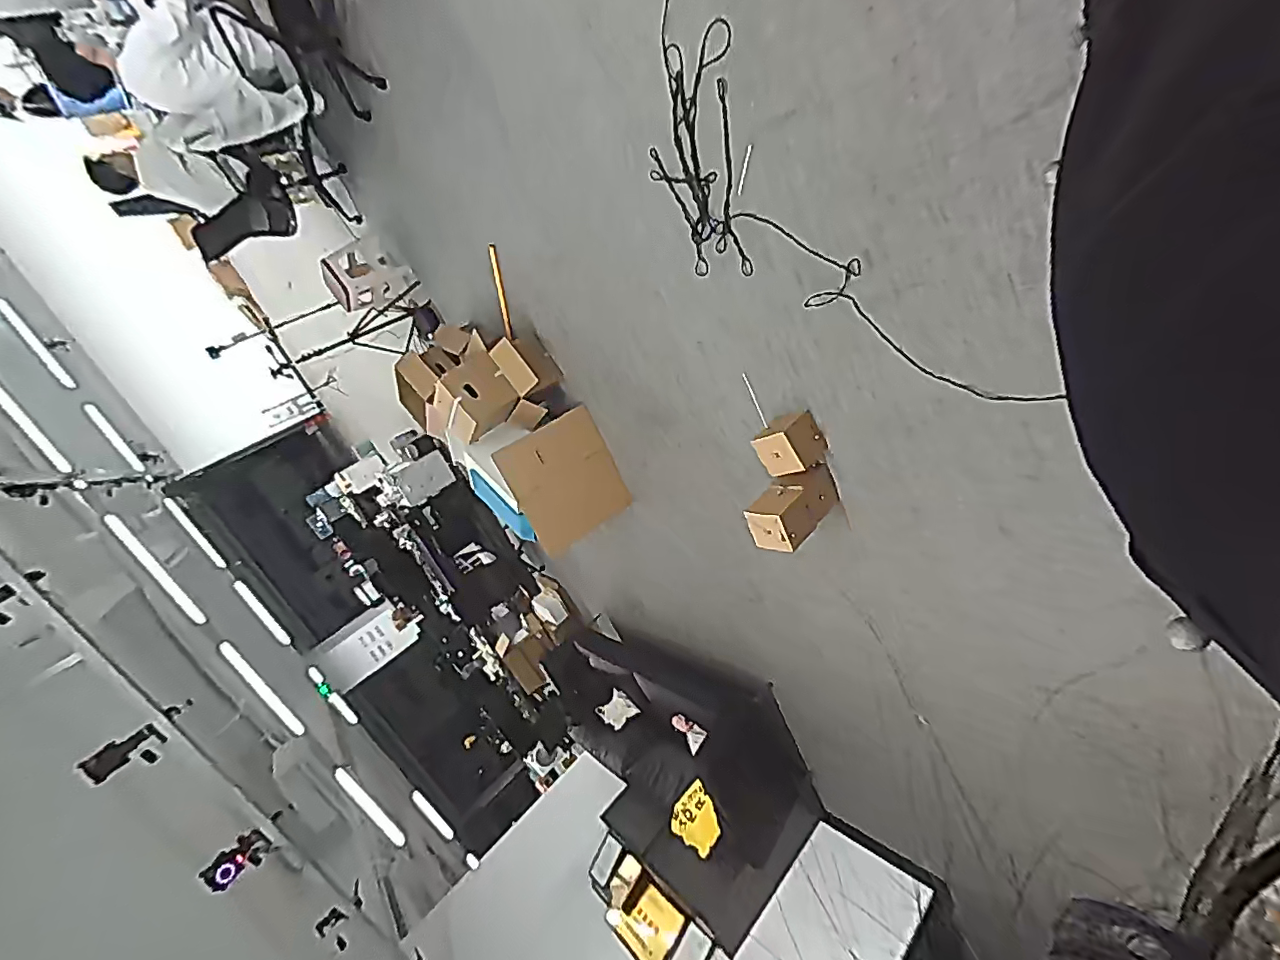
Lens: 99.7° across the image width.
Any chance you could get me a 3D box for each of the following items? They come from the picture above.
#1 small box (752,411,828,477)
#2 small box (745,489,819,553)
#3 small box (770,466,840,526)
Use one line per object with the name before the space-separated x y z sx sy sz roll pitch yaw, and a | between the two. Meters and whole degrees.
small box | 0.558 -0.133 2.000 0.168 0.176 0.179 57 151 -11
small box | 0.530 0.146 2.009 0.179 0.176 0.168 4 126 55
small box | 0.640 0.053 2.086 0.168 0.176 0.179 2 125 55
